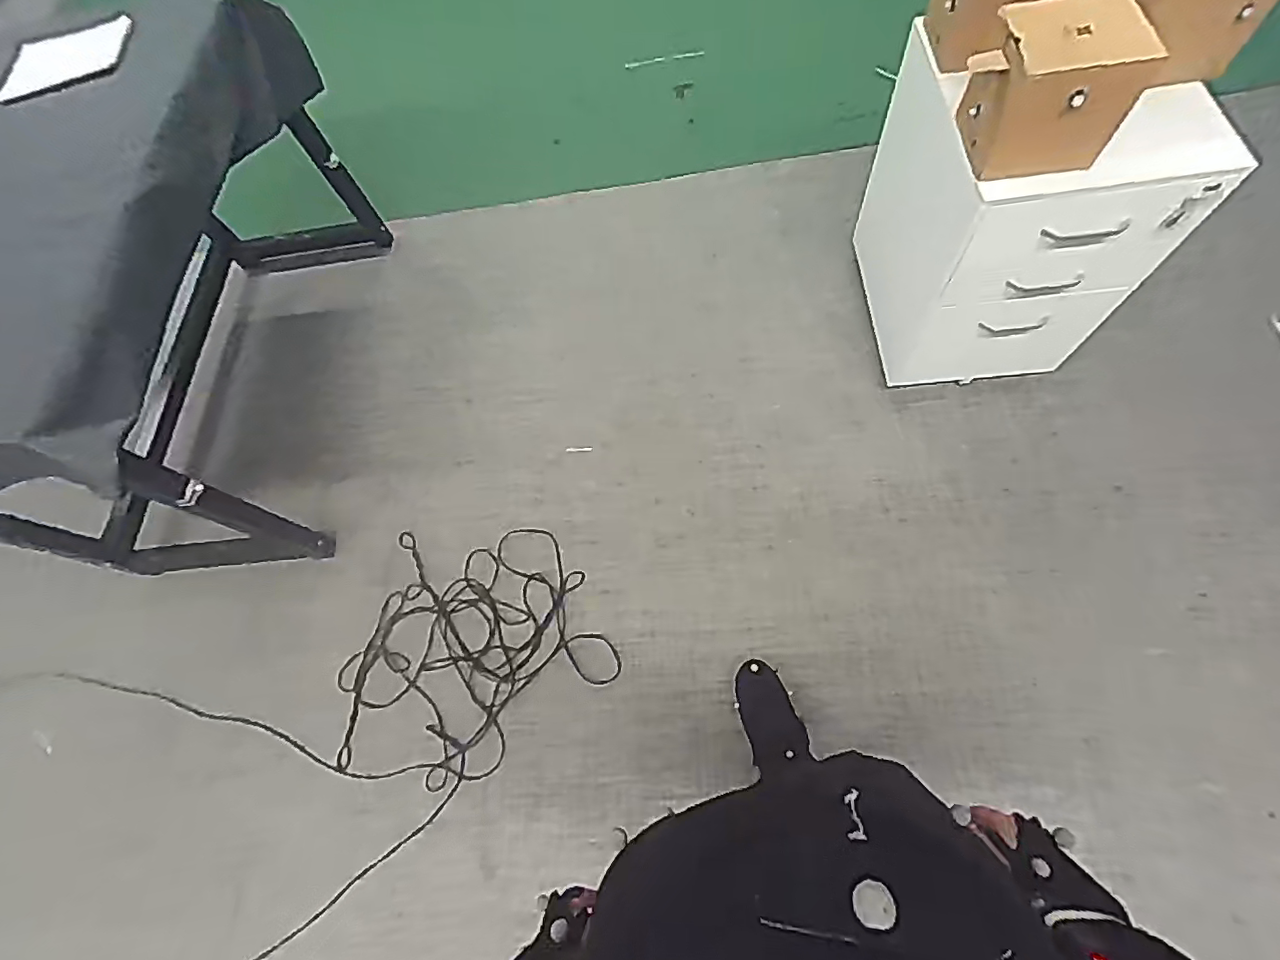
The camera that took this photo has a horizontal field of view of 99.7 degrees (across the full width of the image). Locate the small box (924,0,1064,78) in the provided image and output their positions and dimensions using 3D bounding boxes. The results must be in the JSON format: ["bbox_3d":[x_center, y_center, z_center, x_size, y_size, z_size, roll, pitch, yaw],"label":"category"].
[{"bbox_3d":[0.624,-0.845,0.950,0.179,0.176,0.168,-3,68,6],"label":"small box"}]

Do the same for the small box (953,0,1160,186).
[{"bbox_3d":[0.626,-0.592,0.840,0.179,0.176,0.168,-4,66,7],"label":"small box"}]
